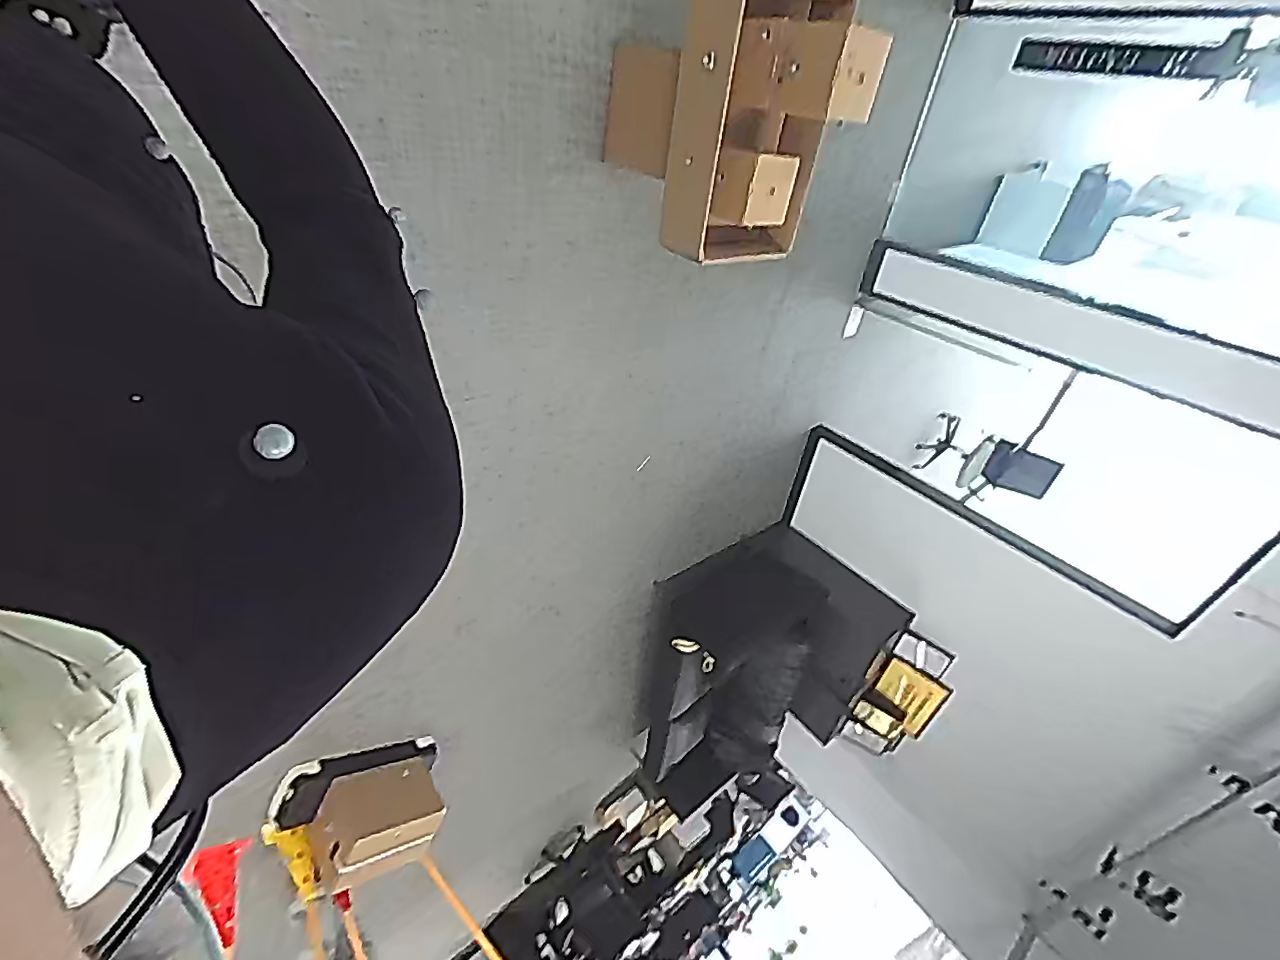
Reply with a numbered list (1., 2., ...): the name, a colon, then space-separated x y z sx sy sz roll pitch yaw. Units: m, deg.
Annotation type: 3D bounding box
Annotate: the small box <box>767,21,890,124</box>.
1. small box: 0.424 -0.929 1.234 0.179 0.176 0.168 -21 135 -35
